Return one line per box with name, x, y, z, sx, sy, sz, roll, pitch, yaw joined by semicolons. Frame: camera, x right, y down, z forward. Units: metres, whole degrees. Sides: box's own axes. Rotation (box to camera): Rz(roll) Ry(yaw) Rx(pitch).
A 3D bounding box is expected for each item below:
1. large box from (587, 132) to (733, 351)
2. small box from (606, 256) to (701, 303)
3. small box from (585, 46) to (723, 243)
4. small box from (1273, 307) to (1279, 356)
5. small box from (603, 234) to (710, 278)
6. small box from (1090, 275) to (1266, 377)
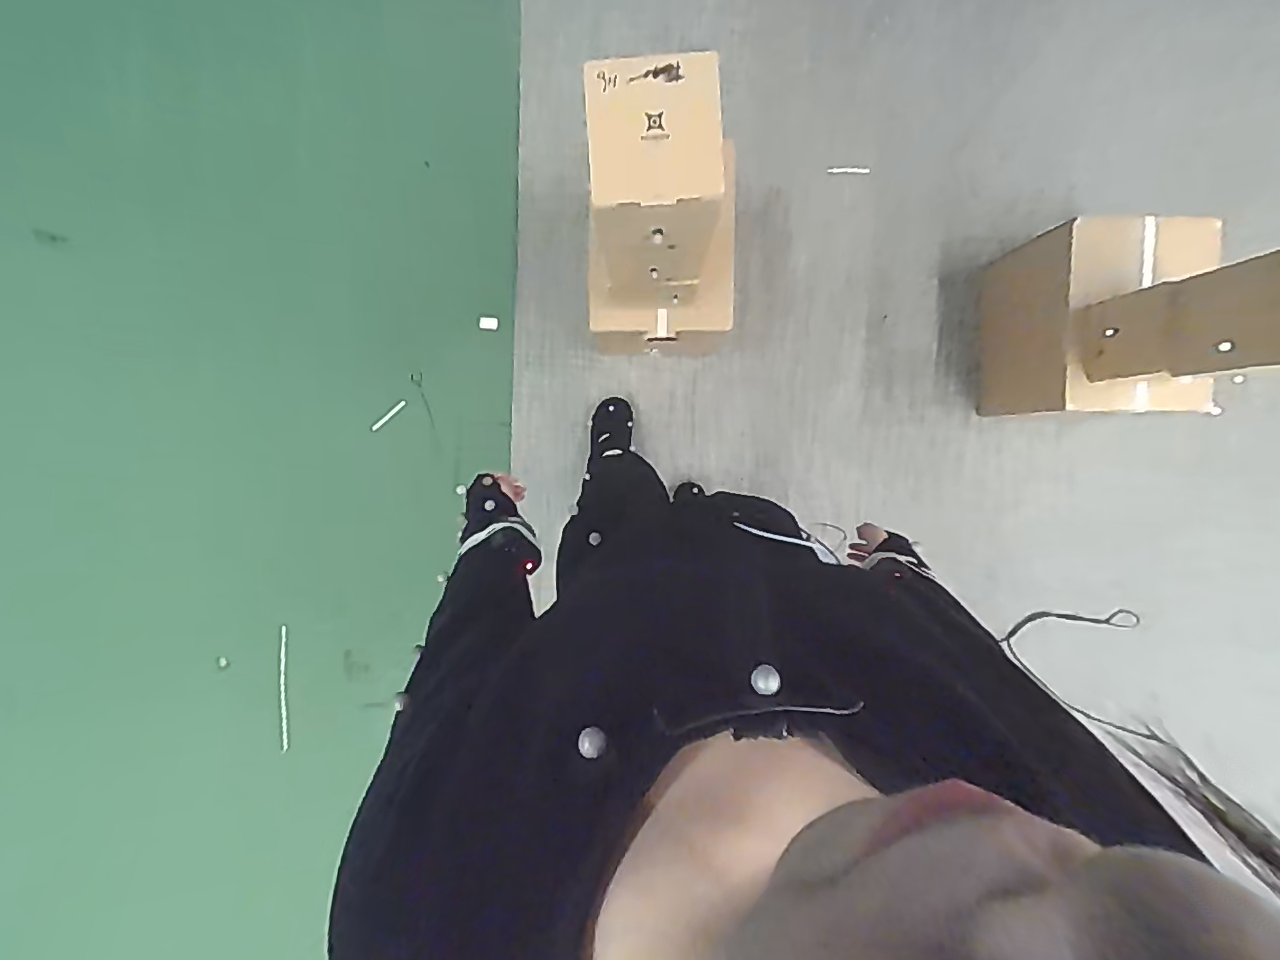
large box;0.048;-0.540;1.300;0.320;0.320;0.408;0;93;1
small box;0.026;-0.452;1.062;0.179;0.176;0.168;-1;93;2
small box;0.021;-0.435;0.734;0.168;0.176;0.179;-3;94;1
small box;1.036;-0.256;0.730;0.168;0.176;0.179;2;96;2
small box;0.023;-0.448;0.898;0.168;0.176;0.179;-5;93;1
small box;1.038;-0.295;1.057;0.179;0.176;0.168;-1;95;2
